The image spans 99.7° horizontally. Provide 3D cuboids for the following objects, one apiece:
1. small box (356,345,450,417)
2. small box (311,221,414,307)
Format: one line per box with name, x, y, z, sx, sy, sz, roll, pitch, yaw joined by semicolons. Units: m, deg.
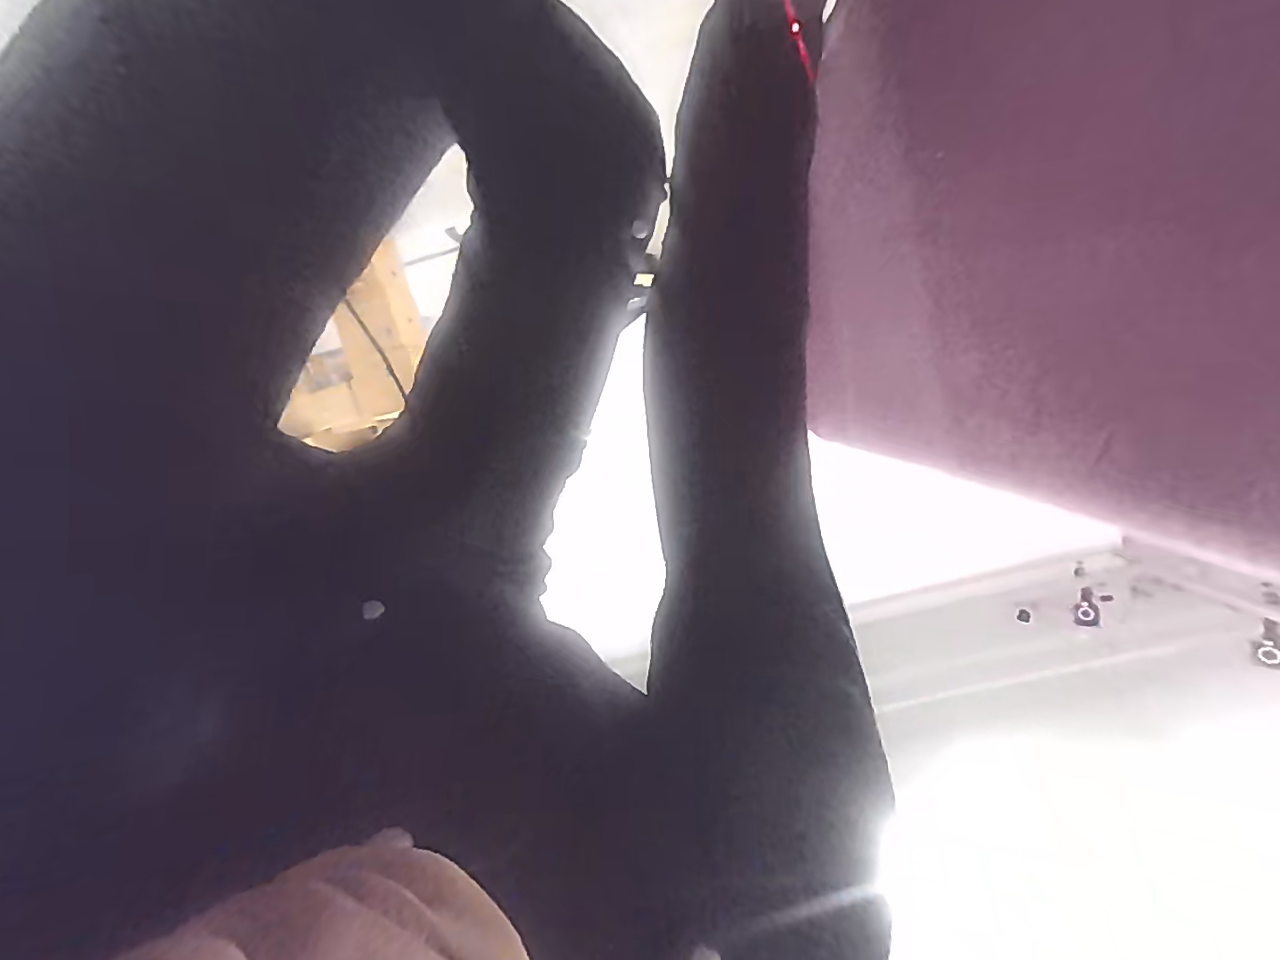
small box;-0.677;-0.285;1.558;0.168;0.176;0.179;-14;-172;5
small box;-0.767;-0.596;1.503;0.168;0.176;0.179;-14;-172;8
